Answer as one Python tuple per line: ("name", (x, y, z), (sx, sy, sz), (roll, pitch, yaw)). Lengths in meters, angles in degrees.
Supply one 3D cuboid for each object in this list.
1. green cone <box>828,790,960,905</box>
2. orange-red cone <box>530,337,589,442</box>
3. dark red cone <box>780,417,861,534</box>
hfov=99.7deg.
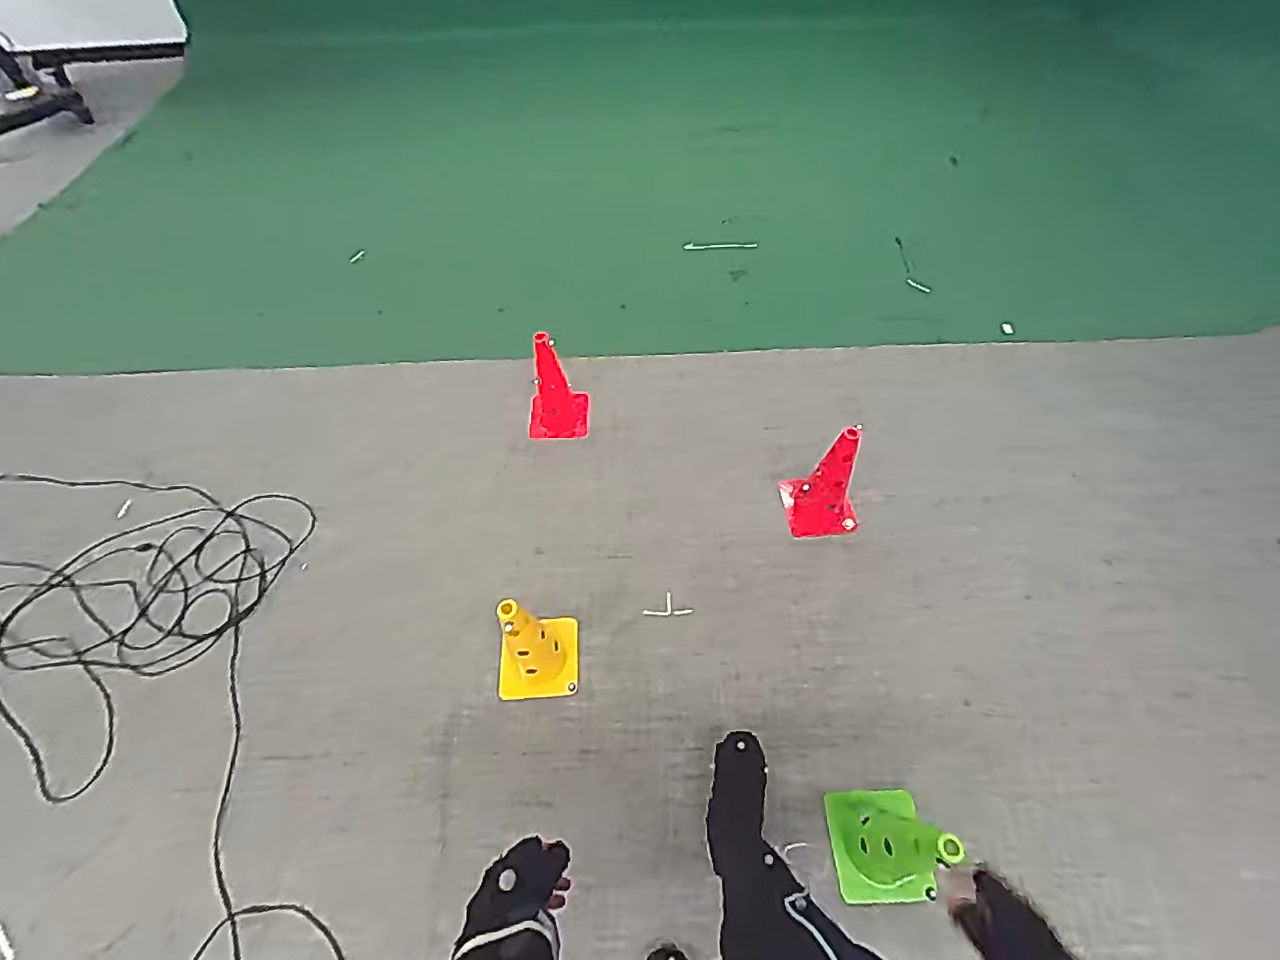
("green cone", (0.512, 0.690, 1.021), (0.202, 0.368, 0.200), (-4, 56, 1))
("orange-red cone", (-0.286, -0.305, 1.720), (0.198, 0.360, 0.199), (-2, 57, 2))
("dark red cone", (0.526, -0.028, 1.470), (0.202, 0.394, 0.201), (-7, 55, -2))
